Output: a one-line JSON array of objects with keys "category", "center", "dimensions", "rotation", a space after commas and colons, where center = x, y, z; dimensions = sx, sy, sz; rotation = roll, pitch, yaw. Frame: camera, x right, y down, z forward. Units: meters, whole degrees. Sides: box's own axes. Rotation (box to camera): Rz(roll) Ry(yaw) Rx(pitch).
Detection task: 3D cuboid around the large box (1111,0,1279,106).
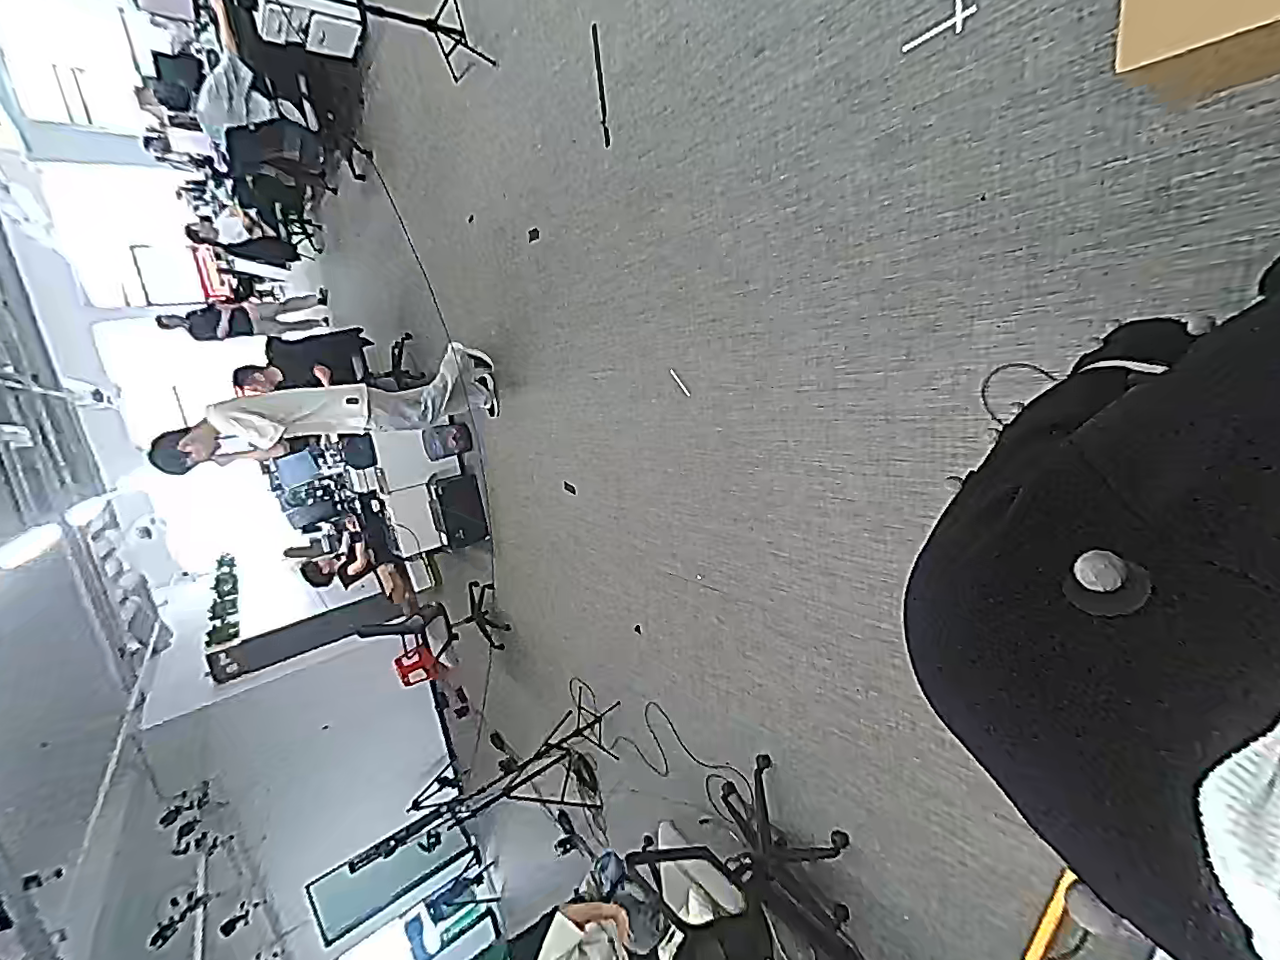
[{"category": "large box", "center": [0.899, -0.735, 0.673], "dimensions": [0.408, 0.320, 0.320], "rotation": [12, 114, 51]}]
